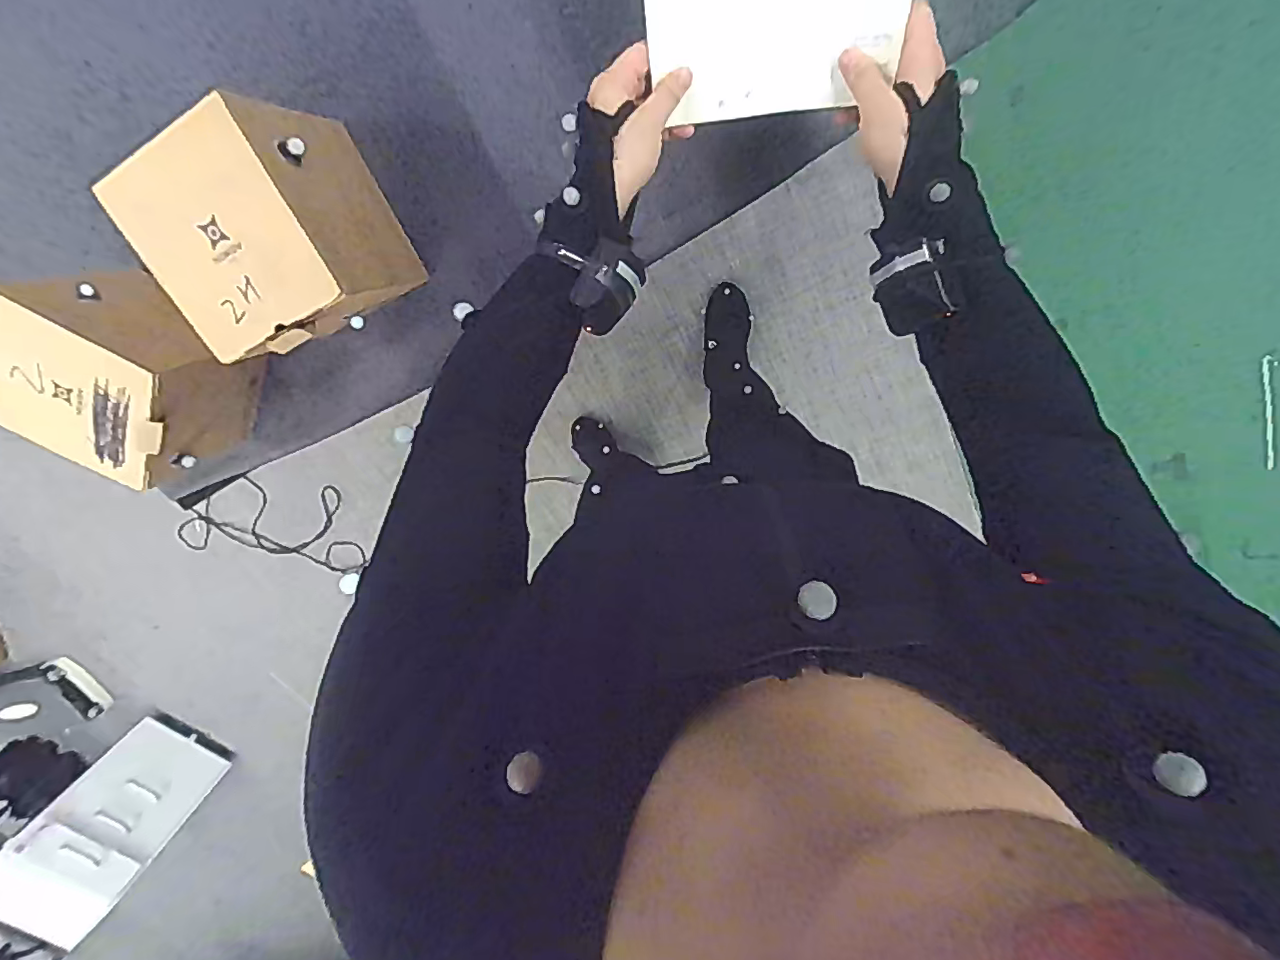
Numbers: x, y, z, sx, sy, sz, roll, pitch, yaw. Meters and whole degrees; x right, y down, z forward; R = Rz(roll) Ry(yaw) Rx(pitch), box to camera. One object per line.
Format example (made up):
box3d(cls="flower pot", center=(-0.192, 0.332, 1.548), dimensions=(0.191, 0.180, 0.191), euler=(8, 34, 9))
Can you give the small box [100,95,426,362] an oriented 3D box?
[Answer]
box3d(cls="small box", center=(-0.364, -0.248, 0.559), dimensions=(0.168, 0.176, 0.179), euler=(-20, 112, 17))
